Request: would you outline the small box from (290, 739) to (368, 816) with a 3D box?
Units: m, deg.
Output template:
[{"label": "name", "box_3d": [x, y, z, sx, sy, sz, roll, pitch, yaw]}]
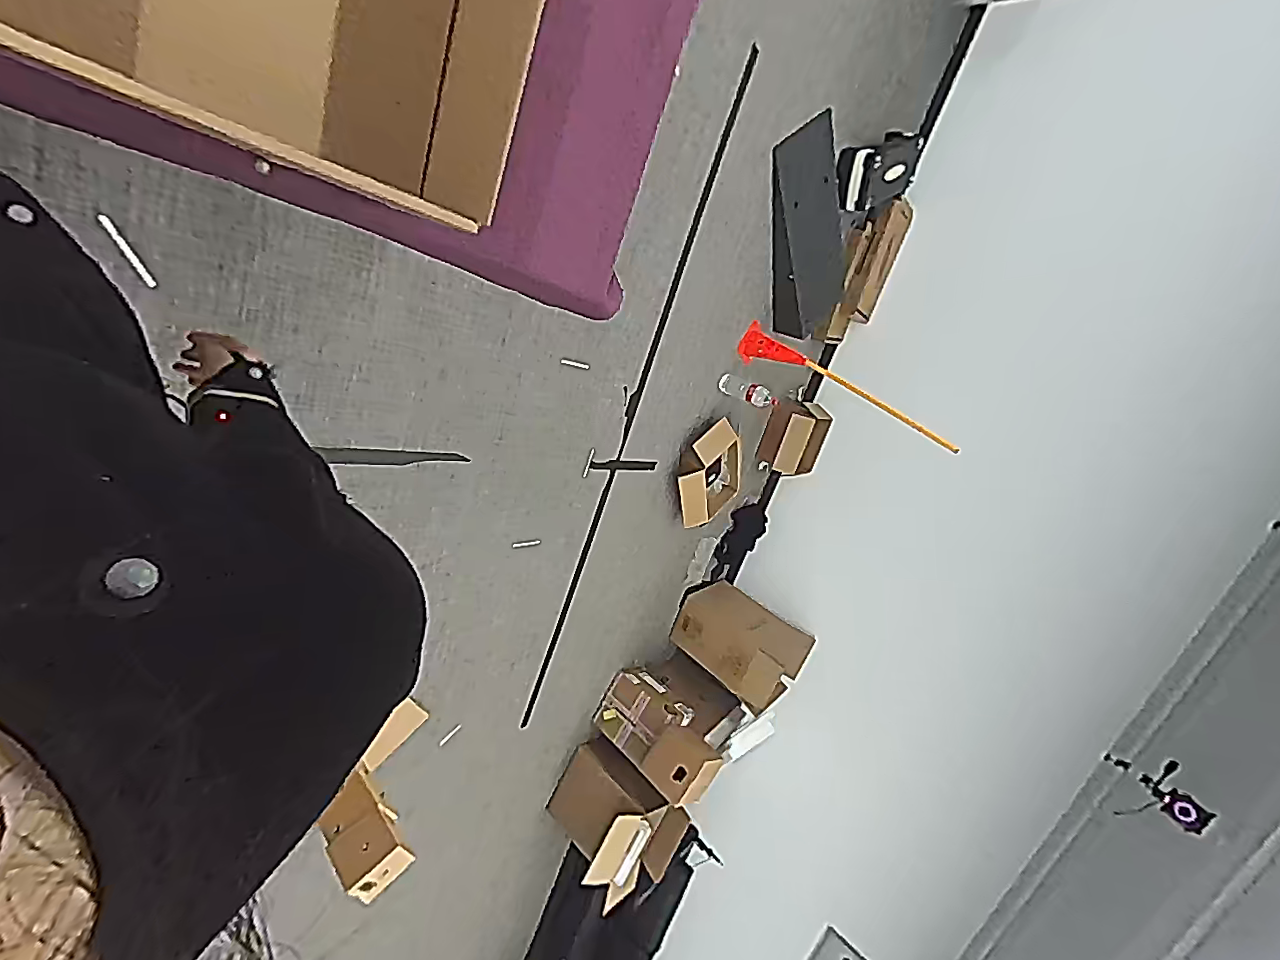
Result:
[{"label": "small box", "box_3d": [-1.116, 1.078, 1.937, 0.179, 0.176, 0.168, -38, 143, -27]}]

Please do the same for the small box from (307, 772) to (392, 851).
[{"label": "small box", "box_3d": [-0.995, 1.147, 1.852, 0.179, 0.176, 0.168, -37, 142, -28]}]

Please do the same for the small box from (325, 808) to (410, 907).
[{"label": "small box", "box_3d": [-0.886, 1.218, 1.750, 0.179, 0.176, 0.168, -36, 142, -31]}]
